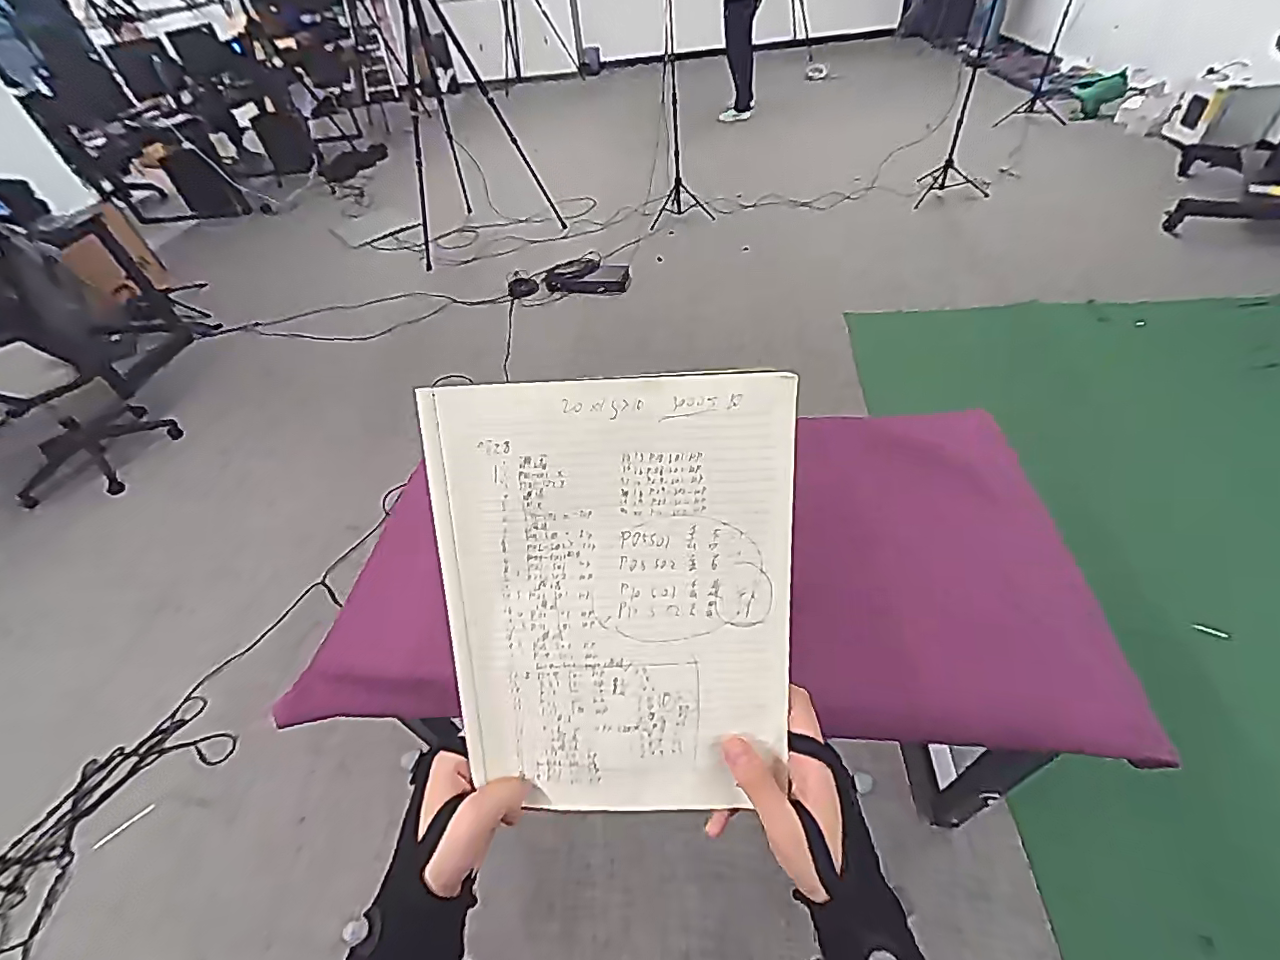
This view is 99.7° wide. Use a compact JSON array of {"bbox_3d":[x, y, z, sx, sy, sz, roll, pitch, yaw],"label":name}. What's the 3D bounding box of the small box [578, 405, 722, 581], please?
[{"bbox_3d":[0.026,0.019,0.726,0.168,0.176,0.179,0,45,8],"label":"small box"}]
